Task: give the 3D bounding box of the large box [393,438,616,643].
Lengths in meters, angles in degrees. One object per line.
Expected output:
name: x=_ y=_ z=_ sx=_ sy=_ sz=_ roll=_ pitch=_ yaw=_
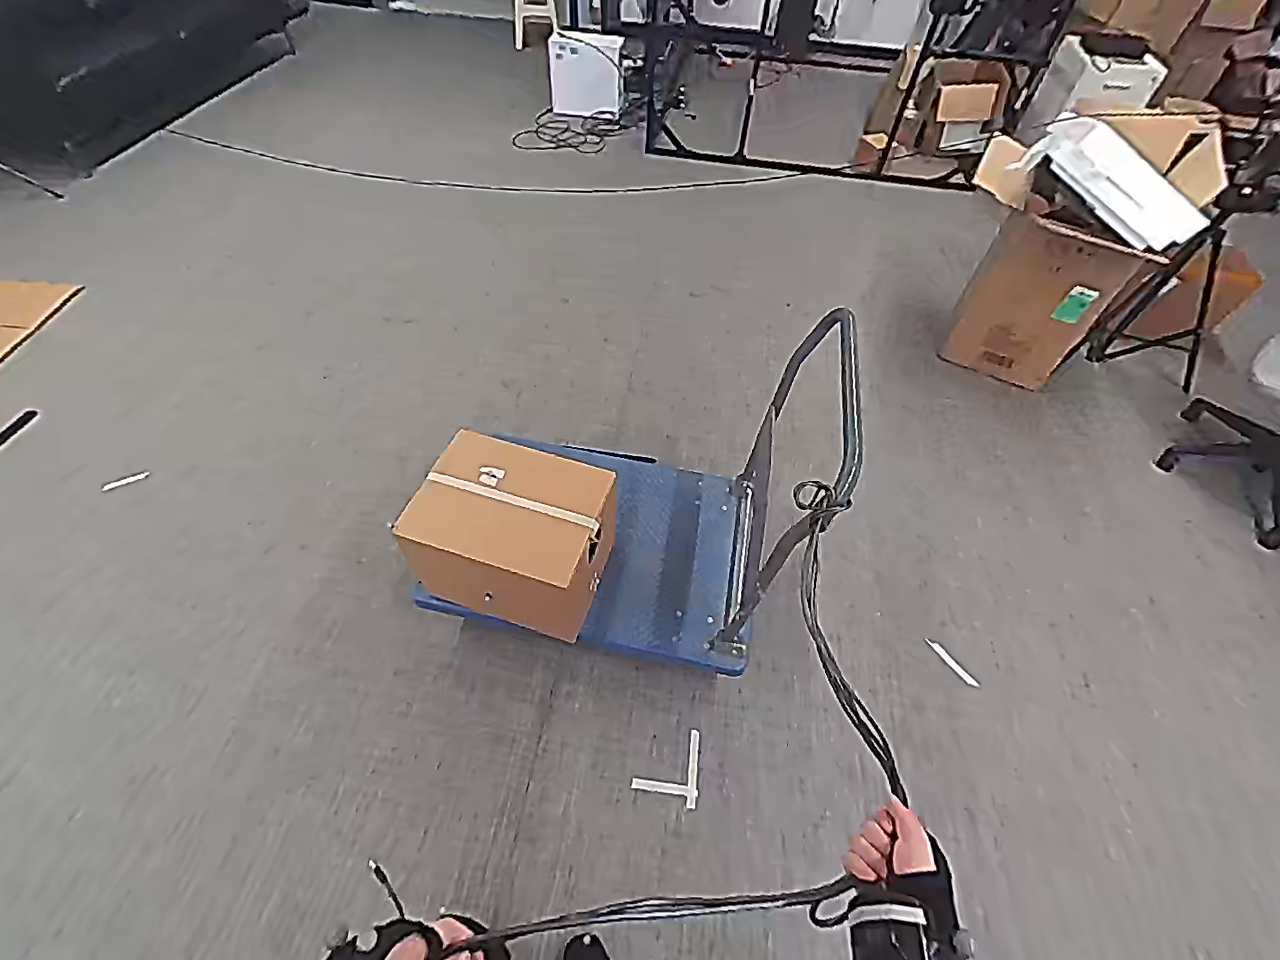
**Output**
large box: x=-0.291 y=0.150 z=1.308 sx=0.408 sy=0.320 sz=0.320 roll=15 pitch=53 yaw=9
